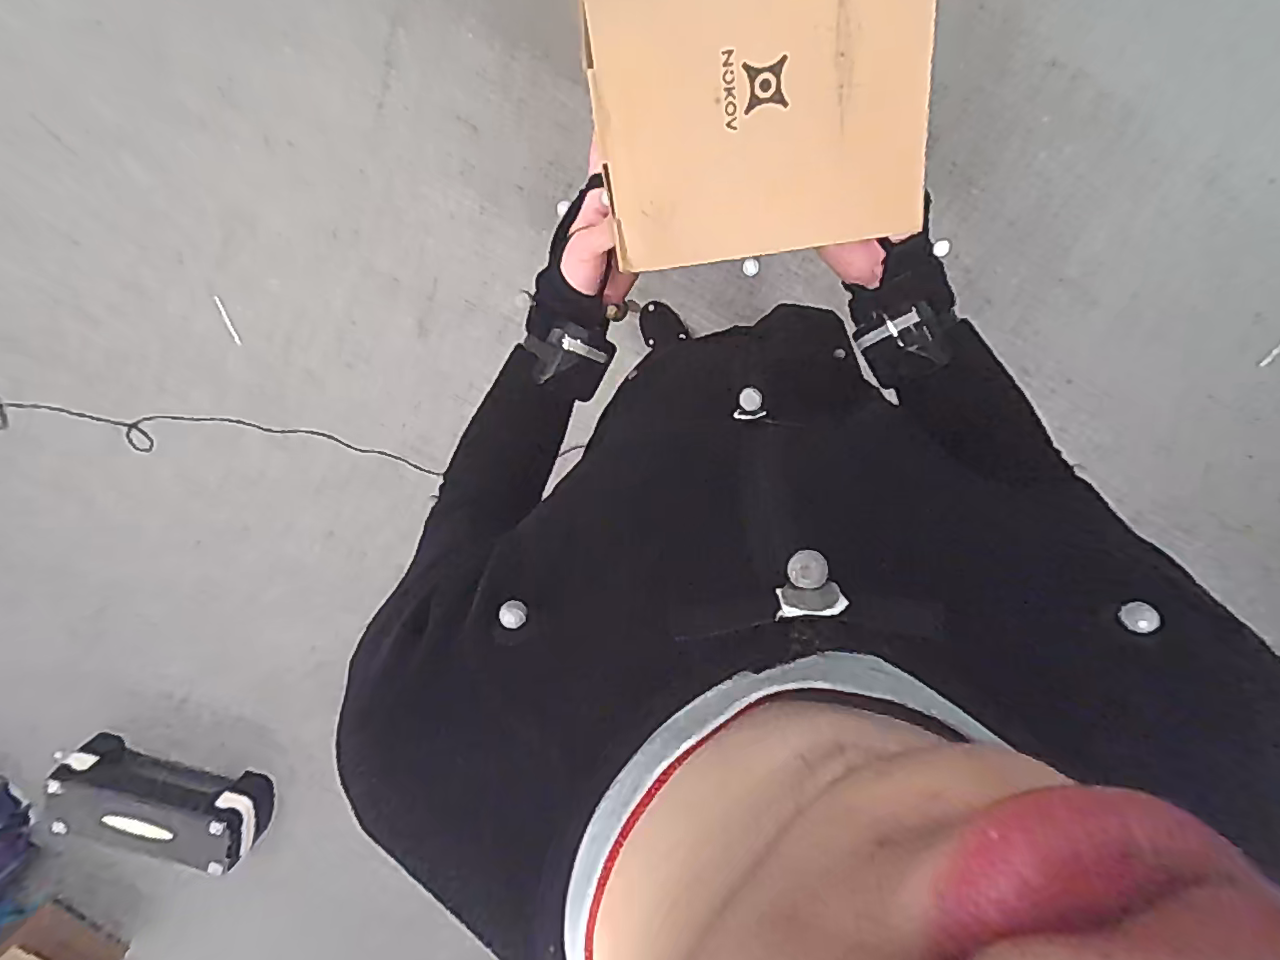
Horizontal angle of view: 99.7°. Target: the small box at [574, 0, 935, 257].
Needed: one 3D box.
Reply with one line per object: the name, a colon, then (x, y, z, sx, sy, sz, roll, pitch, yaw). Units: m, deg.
small box: (0.065, -0.246, 0.348, 0.179, 0.176, 0.168, -6, 116, 7)
